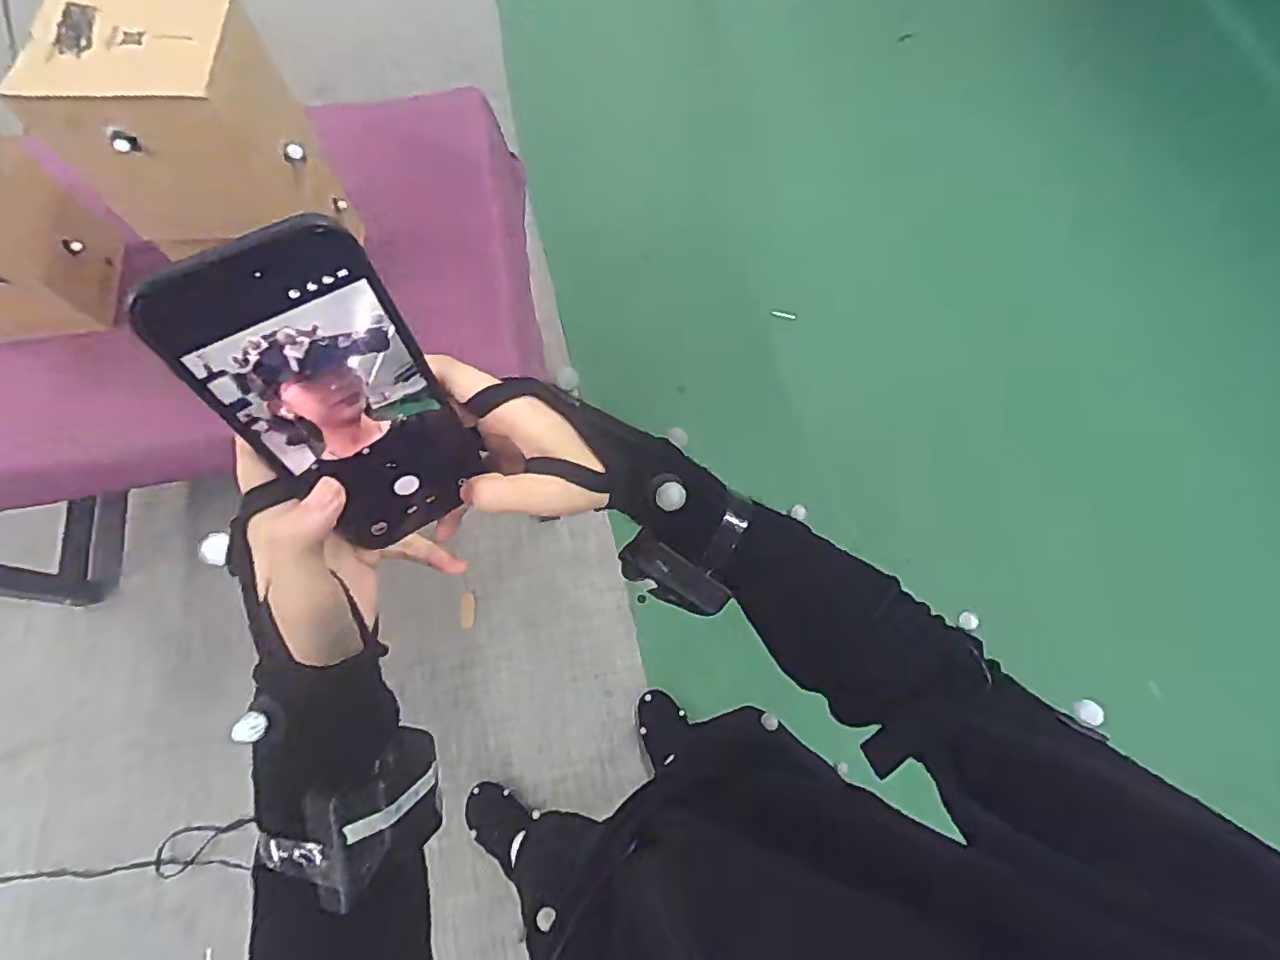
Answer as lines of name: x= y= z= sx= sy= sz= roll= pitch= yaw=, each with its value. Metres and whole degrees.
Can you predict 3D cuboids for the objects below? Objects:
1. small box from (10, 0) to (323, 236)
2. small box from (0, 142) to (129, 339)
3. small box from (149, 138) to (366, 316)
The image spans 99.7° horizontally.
small box: x=-0.487 y=-0.390 z=0.591 sx=0.179 sy=0.176 sz=0.168 roll=-3 pitch=69 yaw=-4
small box: x=-0.843 y=-0.308 z=0.717 sx=0.179 sy=0.176 sz=0.168 roll=-9 pitch=70 yaw=-6
small box: x=-0.506 y=-0.346 z=0.749 sx=0.179 sy=0.176 sz=0.168 roll=-3 pitch=69 yaw=-3
